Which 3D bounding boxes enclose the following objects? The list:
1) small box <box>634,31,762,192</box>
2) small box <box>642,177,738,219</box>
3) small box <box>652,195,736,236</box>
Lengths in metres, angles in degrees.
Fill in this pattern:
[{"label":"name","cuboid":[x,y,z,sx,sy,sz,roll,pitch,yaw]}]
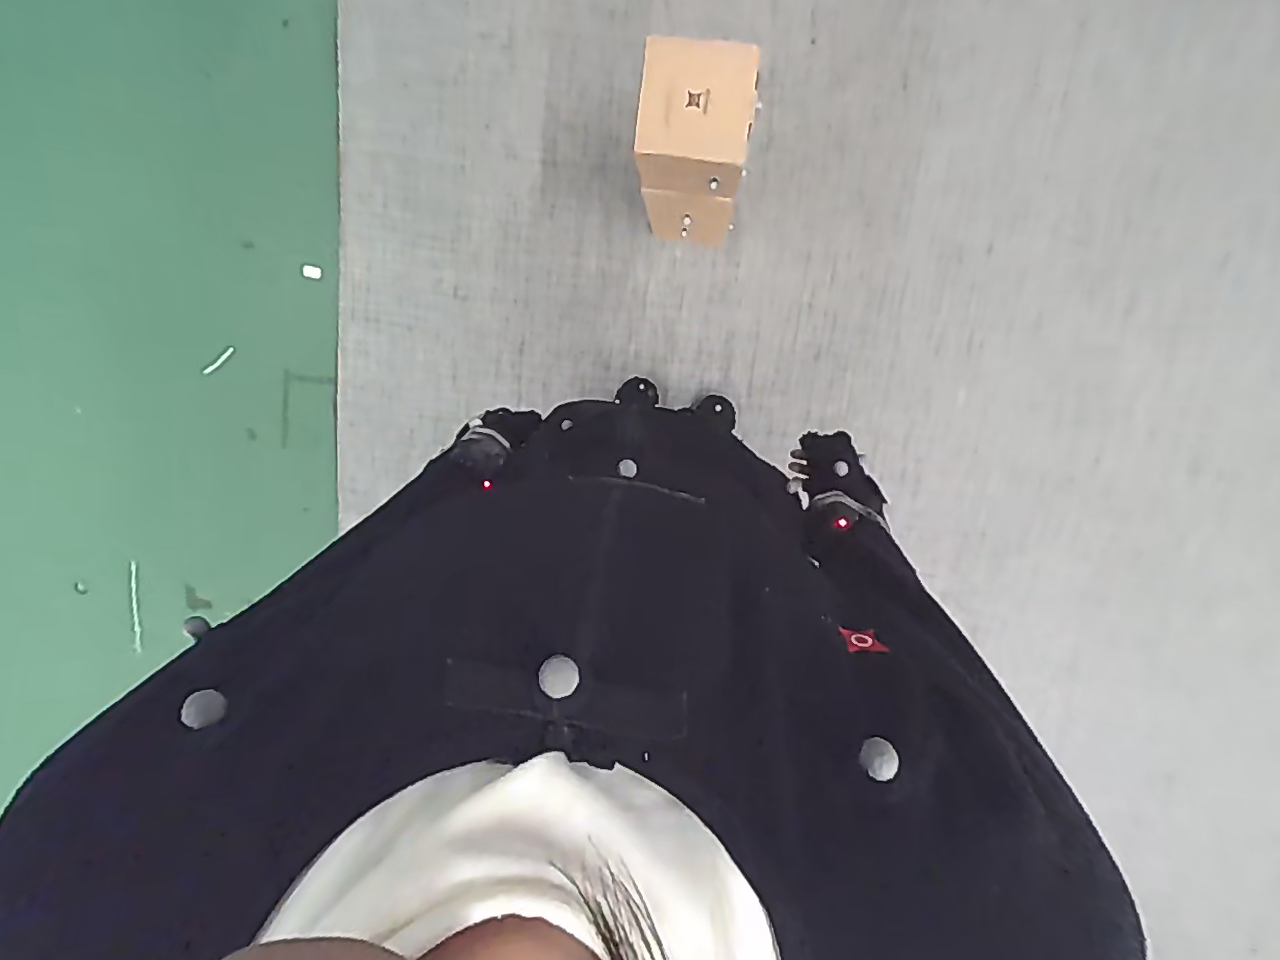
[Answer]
[{"label":"small box","cuboid":[0.094,-0.596,0.897,0.179,0.176,0.168,8,101,5]},{"label":"small box","cuboid":[0.107,-0.625,1.056,0.179,0.176,0.168,9,102,3]},{"label":"small box","cuboid":[0.124,-0.656,1.216,0.179,0.176,0.168,5,102,4]}]
